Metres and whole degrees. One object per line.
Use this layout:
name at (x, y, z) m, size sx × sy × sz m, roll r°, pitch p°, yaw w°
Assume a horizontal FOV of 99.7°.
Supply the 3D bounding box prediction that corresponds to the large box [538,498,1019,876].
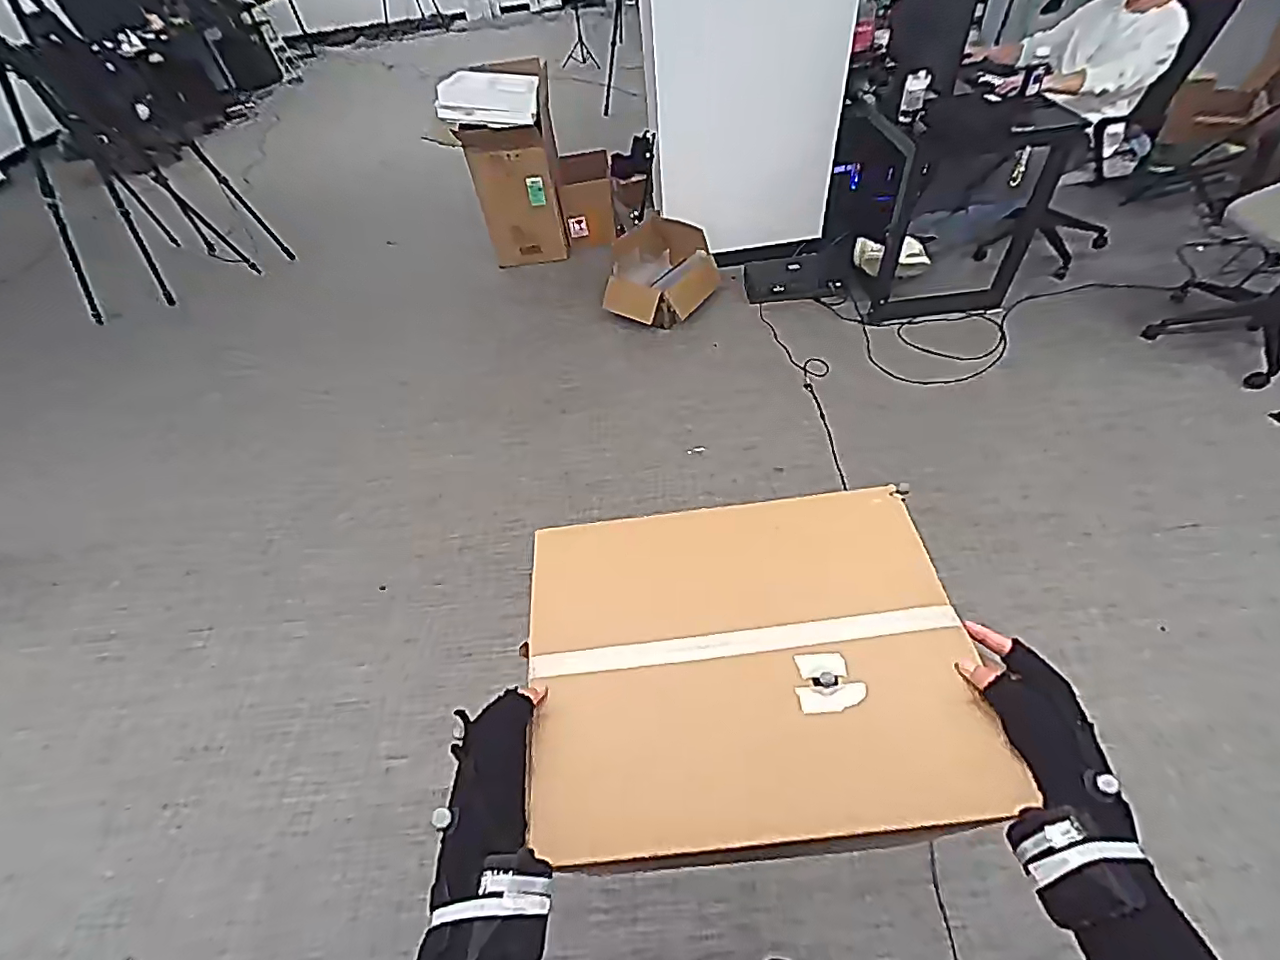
large box at (0.110, 0.256, 0.644) m, size 0.408 × 0.320 × 0.320 m, roll -7°, pitch 53°, yaw 1°
